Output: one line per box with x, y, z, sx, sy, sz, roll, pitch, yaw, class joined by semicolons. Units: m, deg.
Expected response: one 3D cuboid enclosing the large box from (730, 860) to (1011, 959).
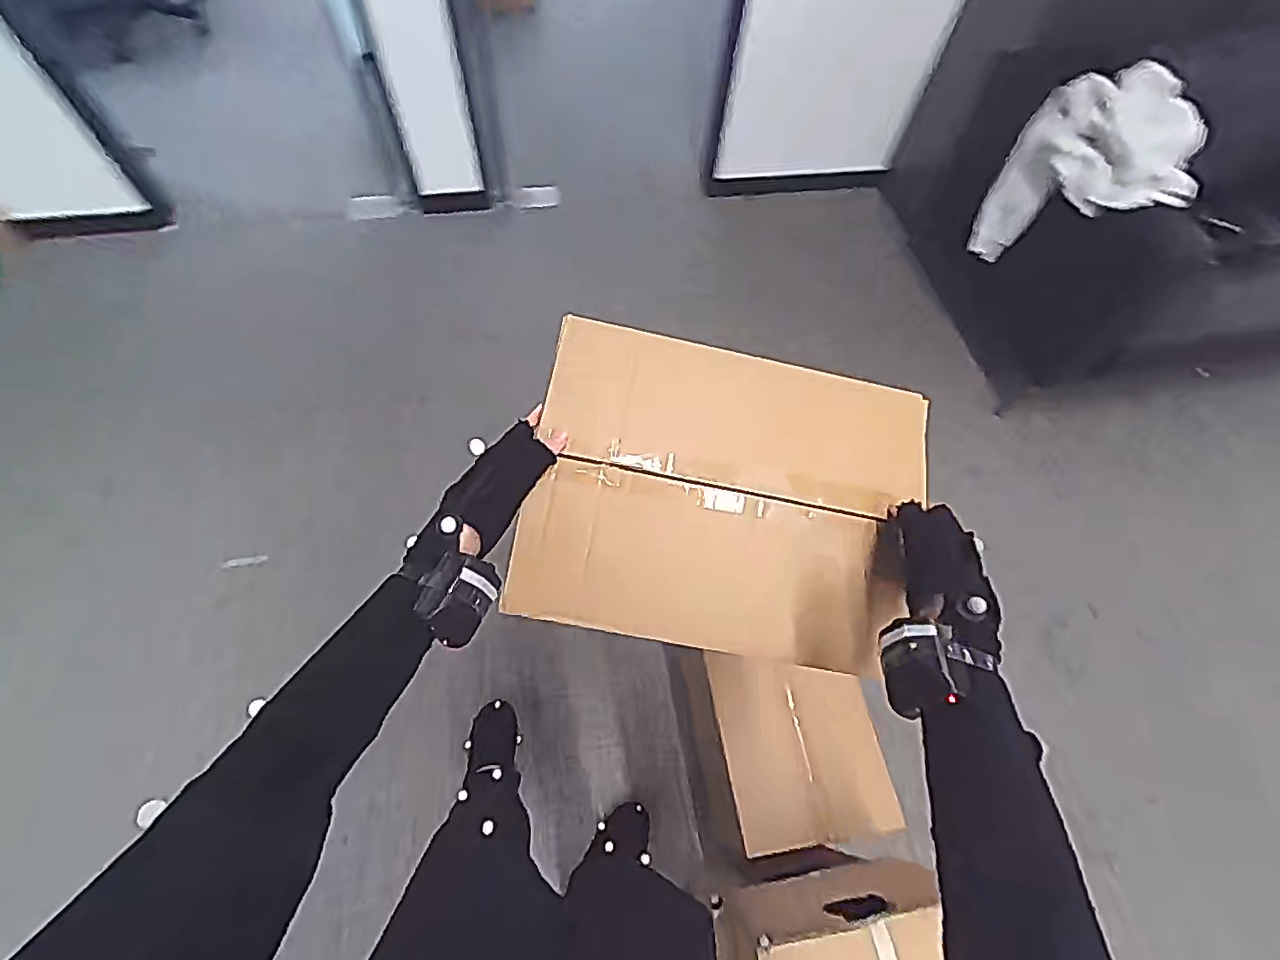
0.329;0.788;0.713;0.320;0.320;0.408;-9;61;-4;large box
